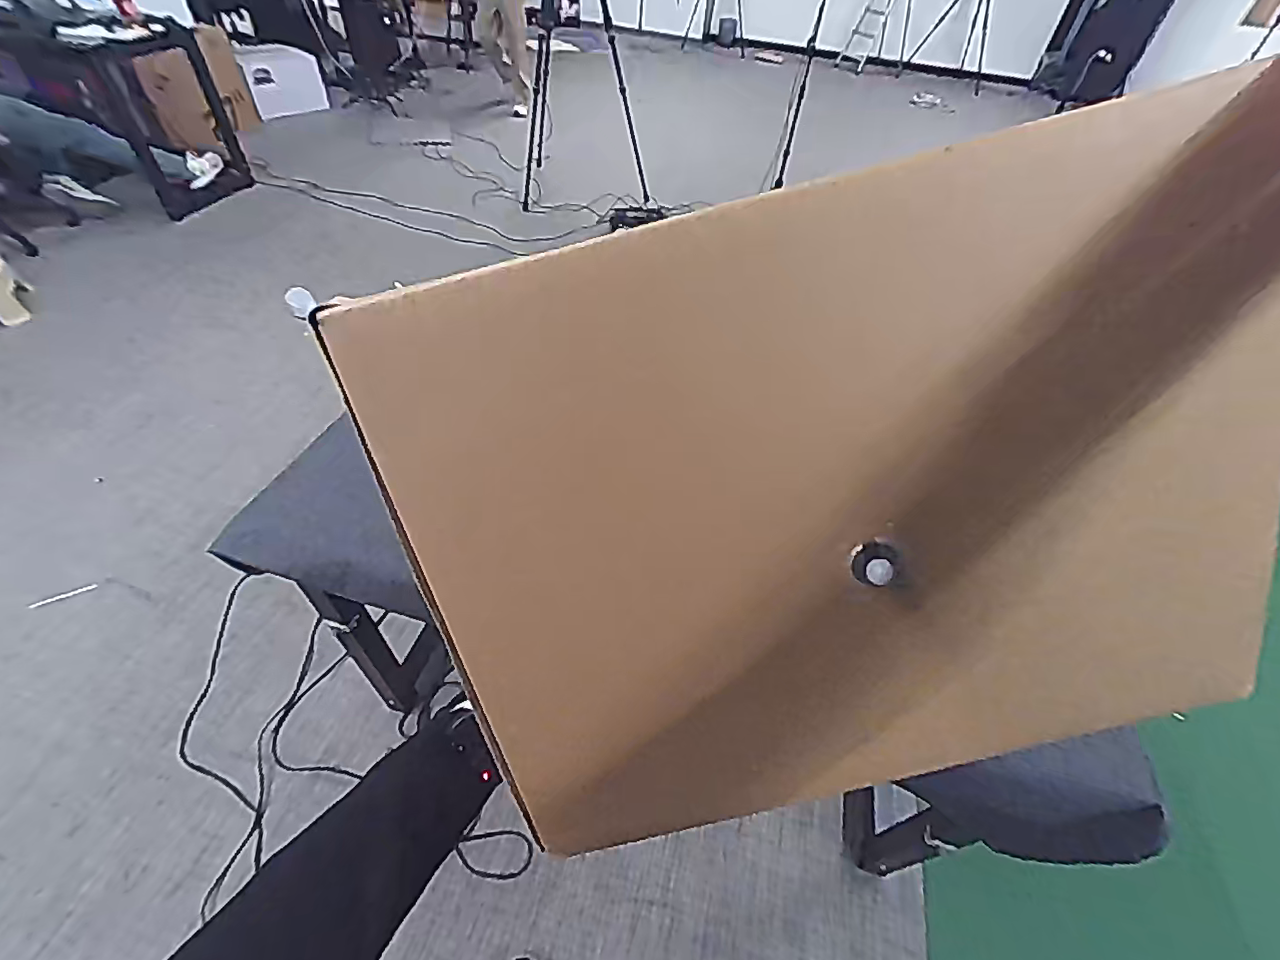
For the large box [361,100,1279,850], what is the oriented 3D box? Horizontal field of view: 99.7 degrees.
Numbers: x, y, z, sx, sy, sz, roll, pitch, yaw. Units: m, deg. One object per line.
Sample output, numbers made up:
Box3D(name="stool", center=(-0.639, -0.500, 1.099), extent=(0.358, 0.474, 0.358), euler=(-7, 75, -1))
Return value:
Box3D(name="large box", center=(0.102, -0.013, 0.410), extent=(0.408, 0.320, 0.320), euler=(-16, 18, 1))
